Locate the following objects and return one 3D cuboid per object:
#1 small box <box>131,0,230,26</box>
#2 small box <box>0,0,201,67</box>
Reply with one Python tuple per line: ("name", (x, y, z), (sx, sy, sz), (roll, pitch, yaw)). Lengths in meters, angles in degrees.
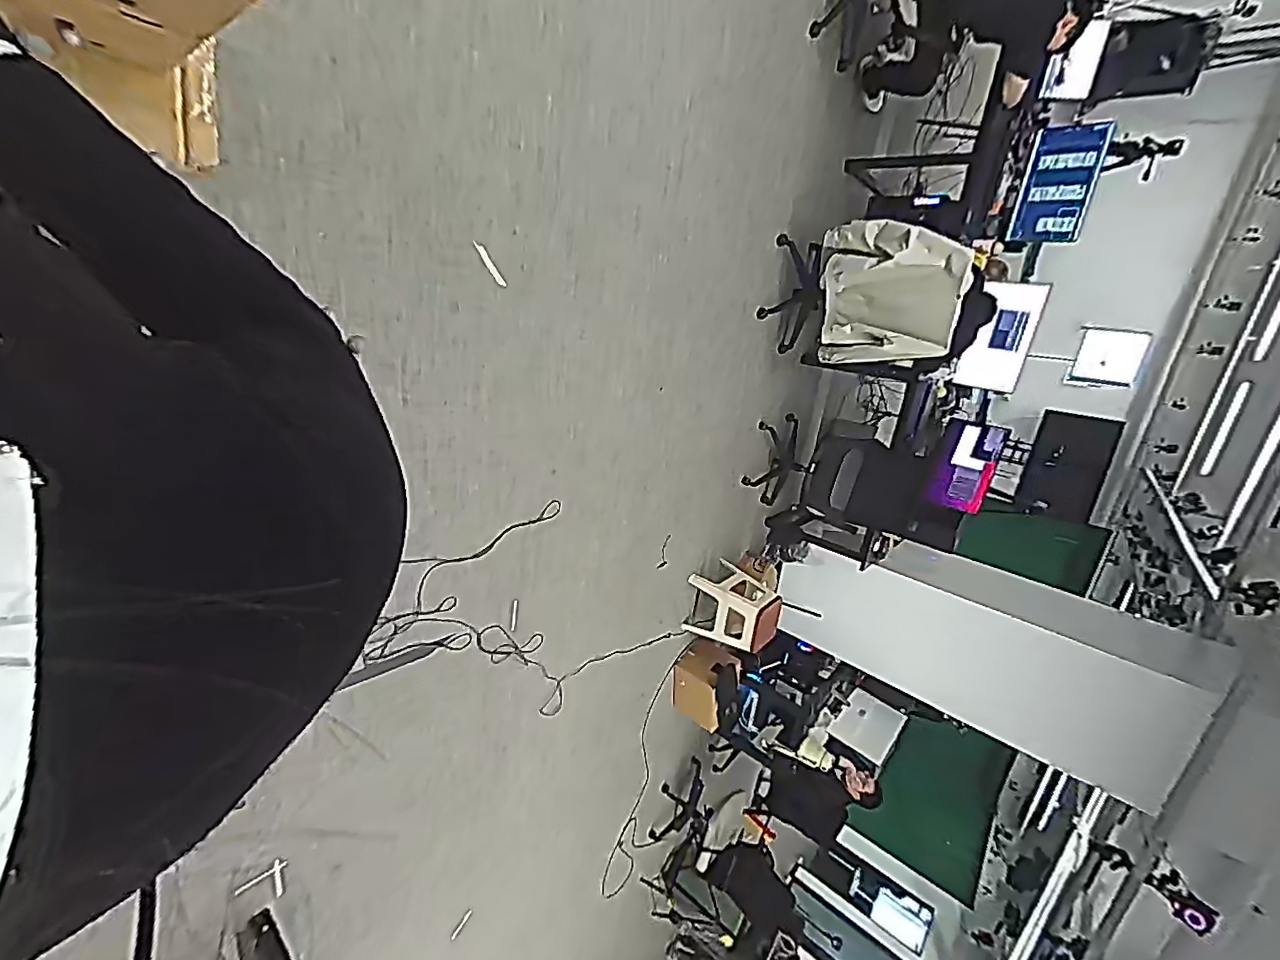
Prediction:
("small box", (-0.390, -0.469, 0.381), (0.168, 0.176, 0.179), (-8, 114, -50))
("small box", (-0.517, -0.511, 0.479), (0.168, 0.176, 0.179), (-10, 115, -48))
